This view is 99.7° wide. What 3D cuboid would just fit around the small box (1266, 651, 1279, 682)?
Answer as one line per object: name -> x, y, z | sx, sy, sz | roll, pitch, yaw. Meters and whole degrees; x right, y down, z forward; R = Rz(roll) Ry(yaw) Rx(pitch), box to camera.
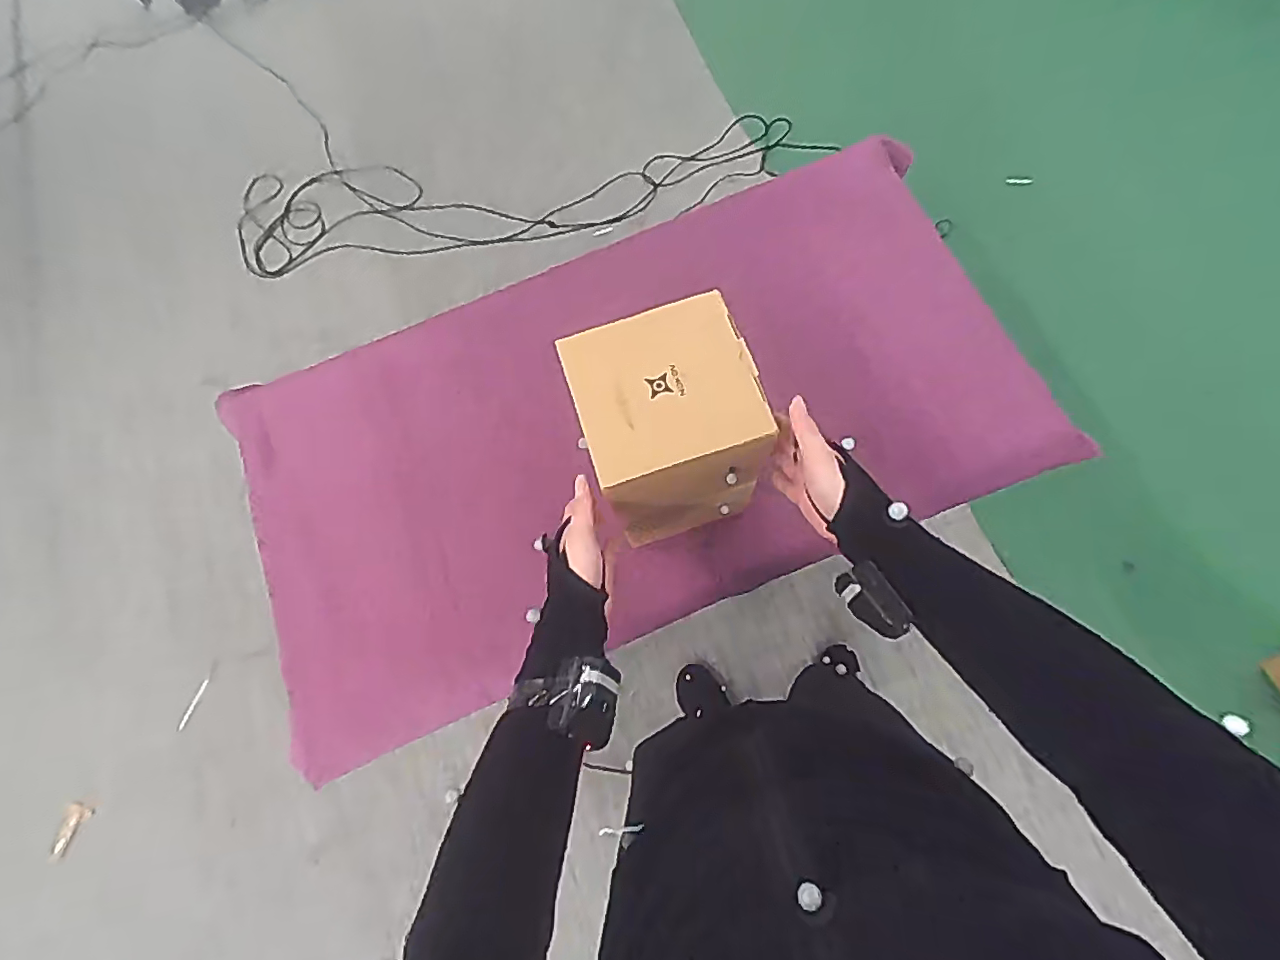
small box -> 1.625, 0.462, 1.225 | 0.168, 0.176, 0.179 | -25, 74, -2
